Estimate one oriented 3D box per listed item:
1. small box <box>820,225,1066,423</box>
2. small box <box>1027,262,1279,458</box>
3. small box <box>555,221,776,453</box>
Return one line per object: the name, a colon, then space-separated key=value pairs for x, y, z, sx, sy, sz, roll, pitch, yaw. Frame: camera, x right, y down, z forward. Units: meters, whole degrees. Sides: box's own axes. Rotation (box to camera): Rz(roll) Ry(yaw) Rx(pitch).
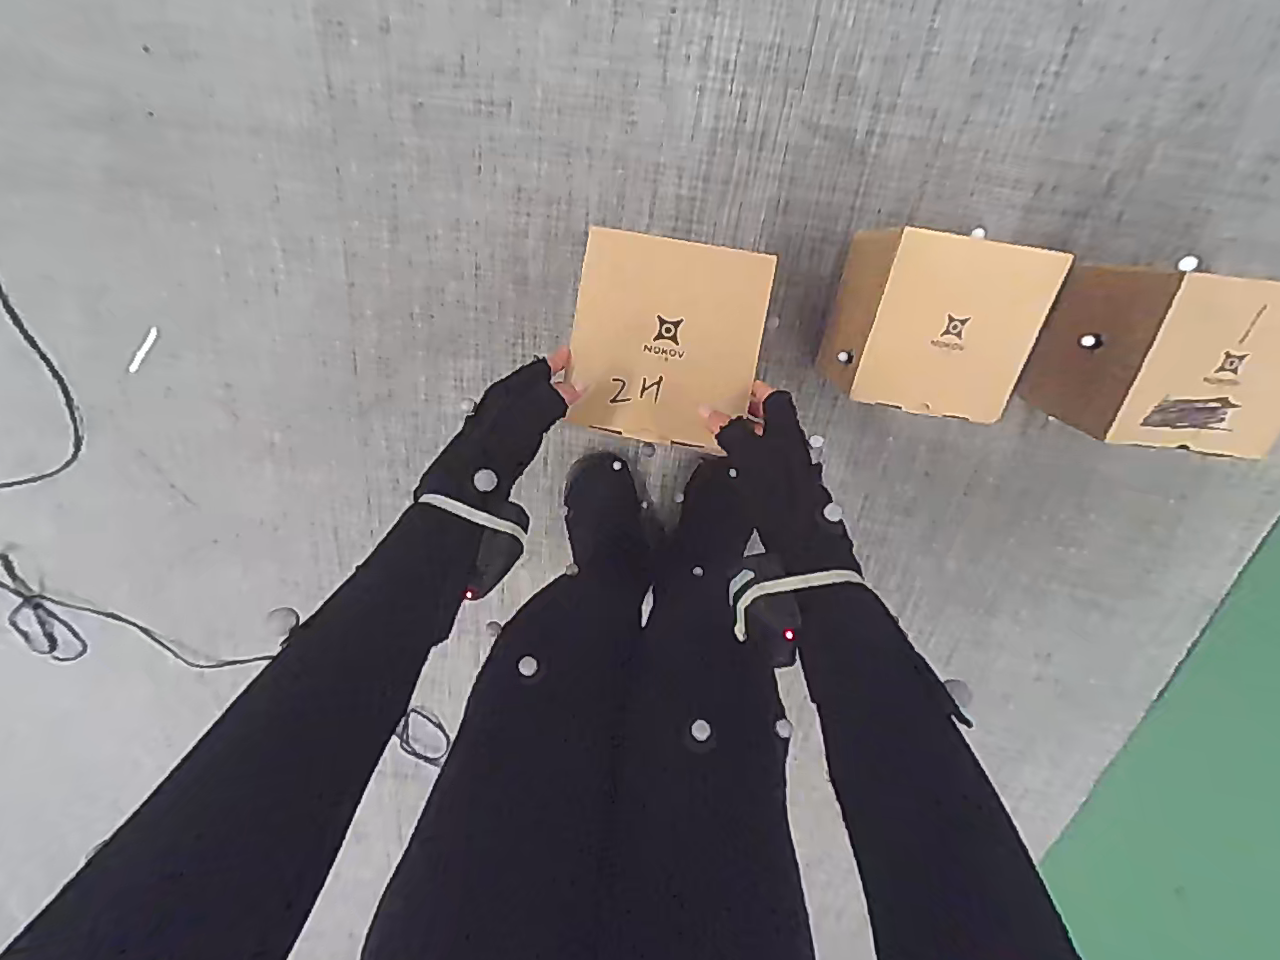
small box: x=0.322 y=-0.185 z=0.623 sx=0.168 sy=0.176 sz=0.179 roll=10 pitch=114 yaw=1
small box: x=0.587 y=-0.144 z=0.614 sx=0.168 sy=0.176 sz=0.179 roll=7 pitch=114 yaw=2
small box: x=0.025 y=-0.127 z=0.545 sx=0.168 sy=0.176 sz=0.179 roll=11 pitch=94 yaw=3
